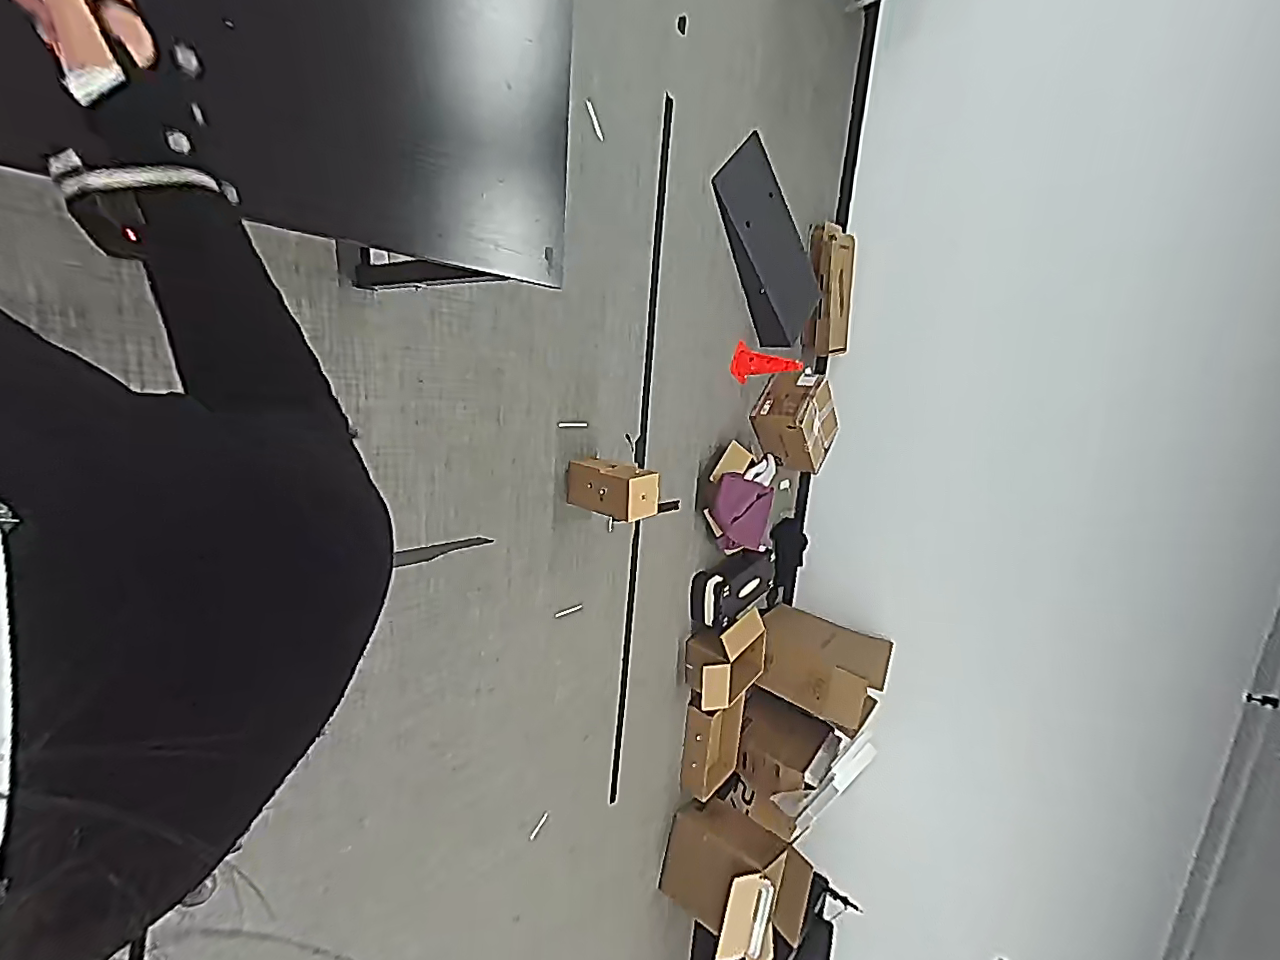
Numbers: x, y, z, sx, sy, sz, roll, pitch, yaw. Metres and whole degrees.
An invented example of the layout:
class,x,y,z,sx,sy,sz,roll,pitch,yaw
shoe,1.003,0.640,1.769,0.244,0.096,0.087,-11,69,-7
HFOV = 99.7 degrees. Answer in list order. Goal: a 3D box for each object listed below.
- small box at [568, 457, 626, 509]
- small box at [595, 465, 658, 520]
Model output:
class,x,y,z,sx,sy,sz,roll,pitch,yaw
small box,-0.174,0.008,2.161,0.168,0.176,0.179,-11,110,-49
small box,-0.052,0.042,2.060,0.179,0.176,0.168,-14,110,-48
